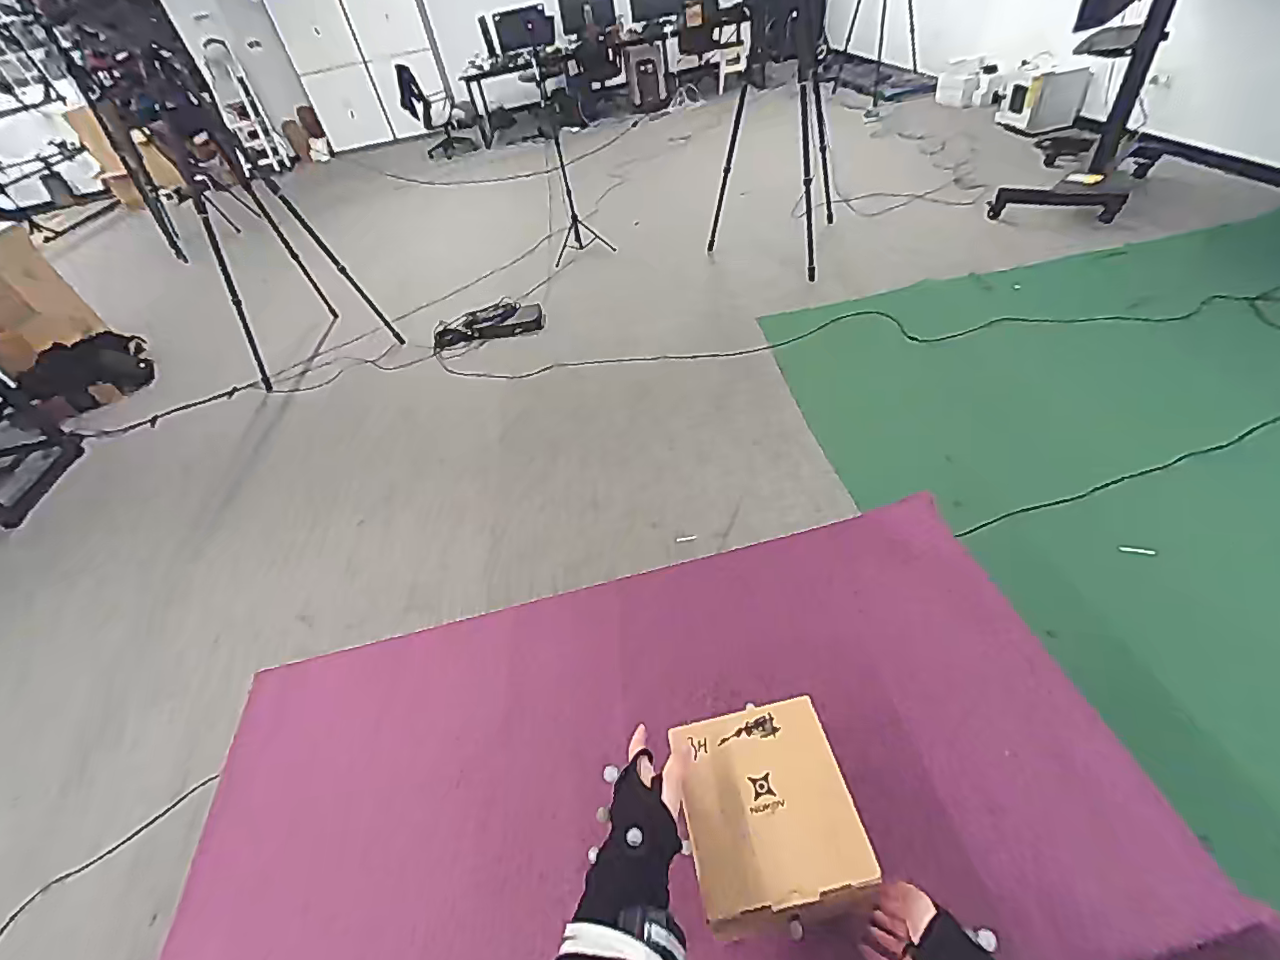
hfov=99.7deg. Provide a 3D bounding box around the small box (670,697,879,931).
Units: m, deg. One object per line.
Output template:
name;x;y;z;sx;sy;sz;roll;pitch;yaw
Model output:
small box;0.138;0.374;0.600;0.168;0.176;0.179;-13;45;-1
